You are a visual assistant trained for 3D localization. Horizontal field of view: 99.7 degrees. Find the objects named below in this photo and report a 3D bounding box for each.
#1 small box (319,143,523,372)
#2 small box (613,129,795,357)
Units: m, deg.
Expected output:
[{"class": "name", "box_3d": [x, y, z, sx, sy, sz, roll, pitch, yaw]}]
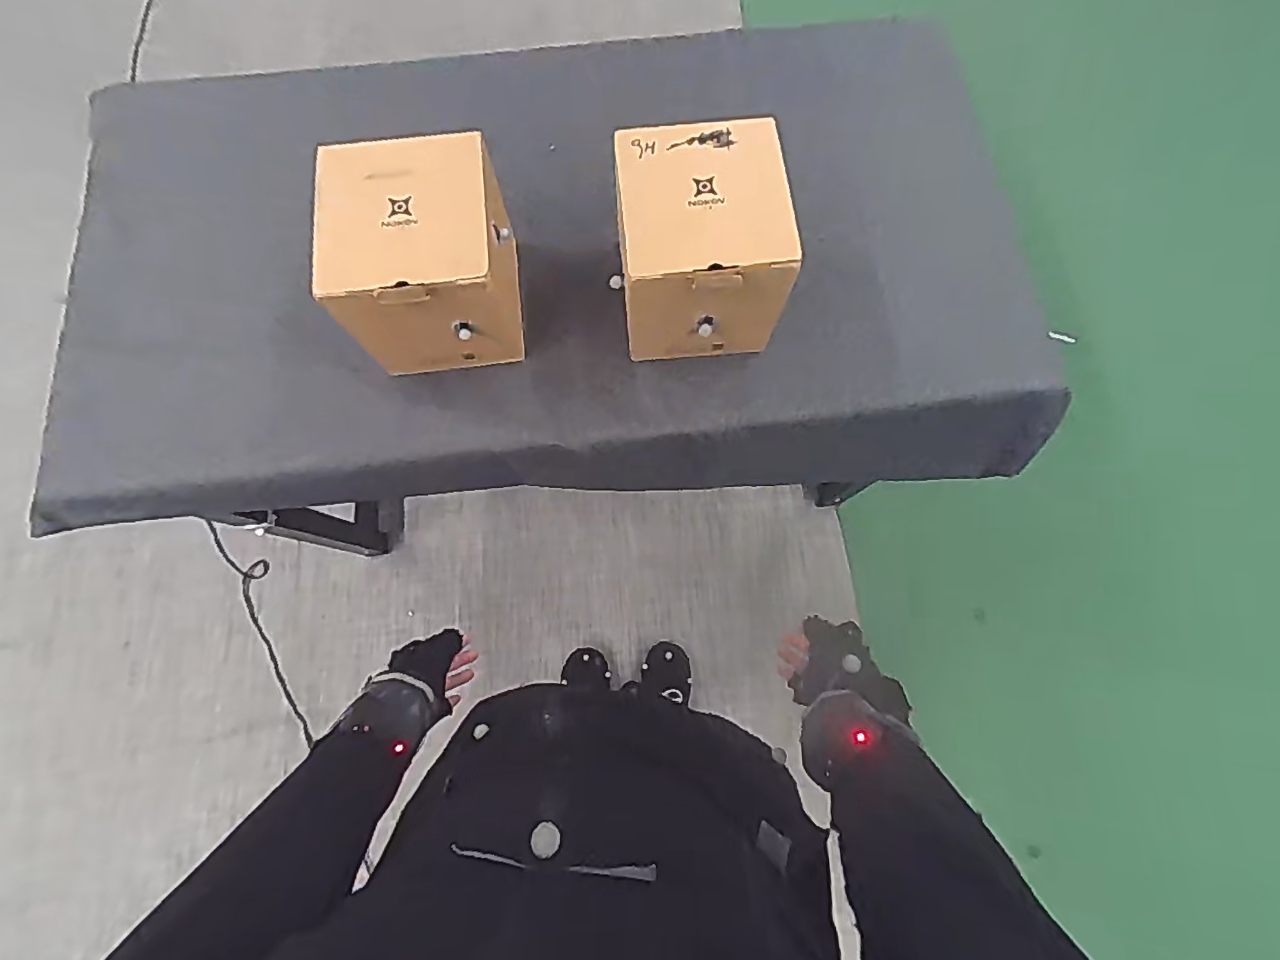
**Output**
[{"class": "small box", "box_3d": [-0.232, -0.235, 0.611, 0.168, 0.176, 0.179, -7, 74, -3]}, {"class": "small box", "box_3d": [0.062, -0.252, 0.613, 0.168, 0.176, 0.179, -6, 75, -2]}]
